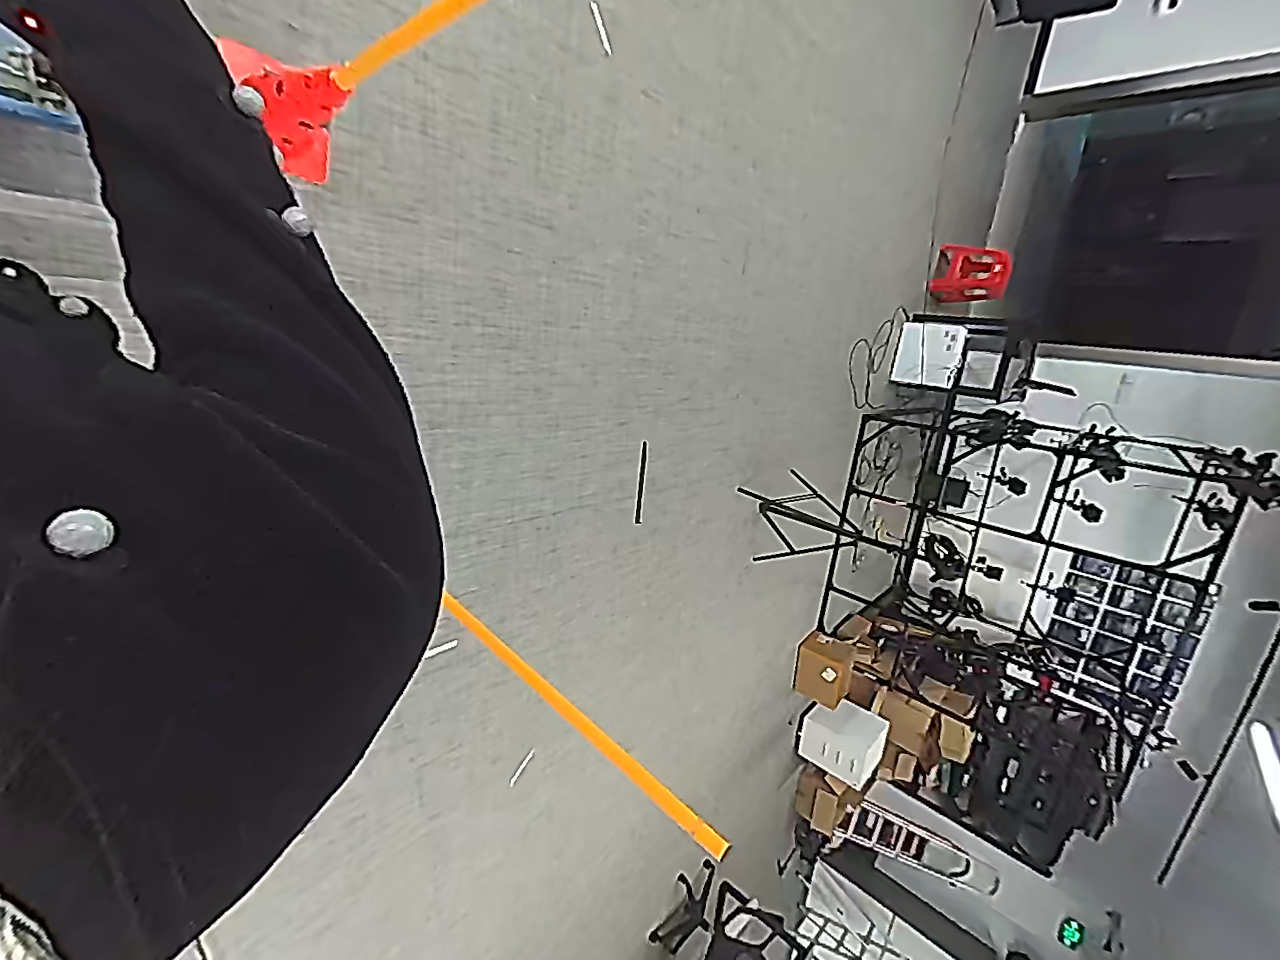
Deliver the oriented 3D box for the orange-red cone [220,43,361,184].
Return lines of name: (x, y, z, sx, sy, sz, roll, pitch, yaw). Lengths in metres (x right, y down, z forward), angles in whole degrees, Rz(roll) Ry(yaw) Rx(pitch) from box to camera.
orange-red cone: (-0.607, -0.696, 1.002, 0.199, 0.360, 0.198, -1, 106, -50)
